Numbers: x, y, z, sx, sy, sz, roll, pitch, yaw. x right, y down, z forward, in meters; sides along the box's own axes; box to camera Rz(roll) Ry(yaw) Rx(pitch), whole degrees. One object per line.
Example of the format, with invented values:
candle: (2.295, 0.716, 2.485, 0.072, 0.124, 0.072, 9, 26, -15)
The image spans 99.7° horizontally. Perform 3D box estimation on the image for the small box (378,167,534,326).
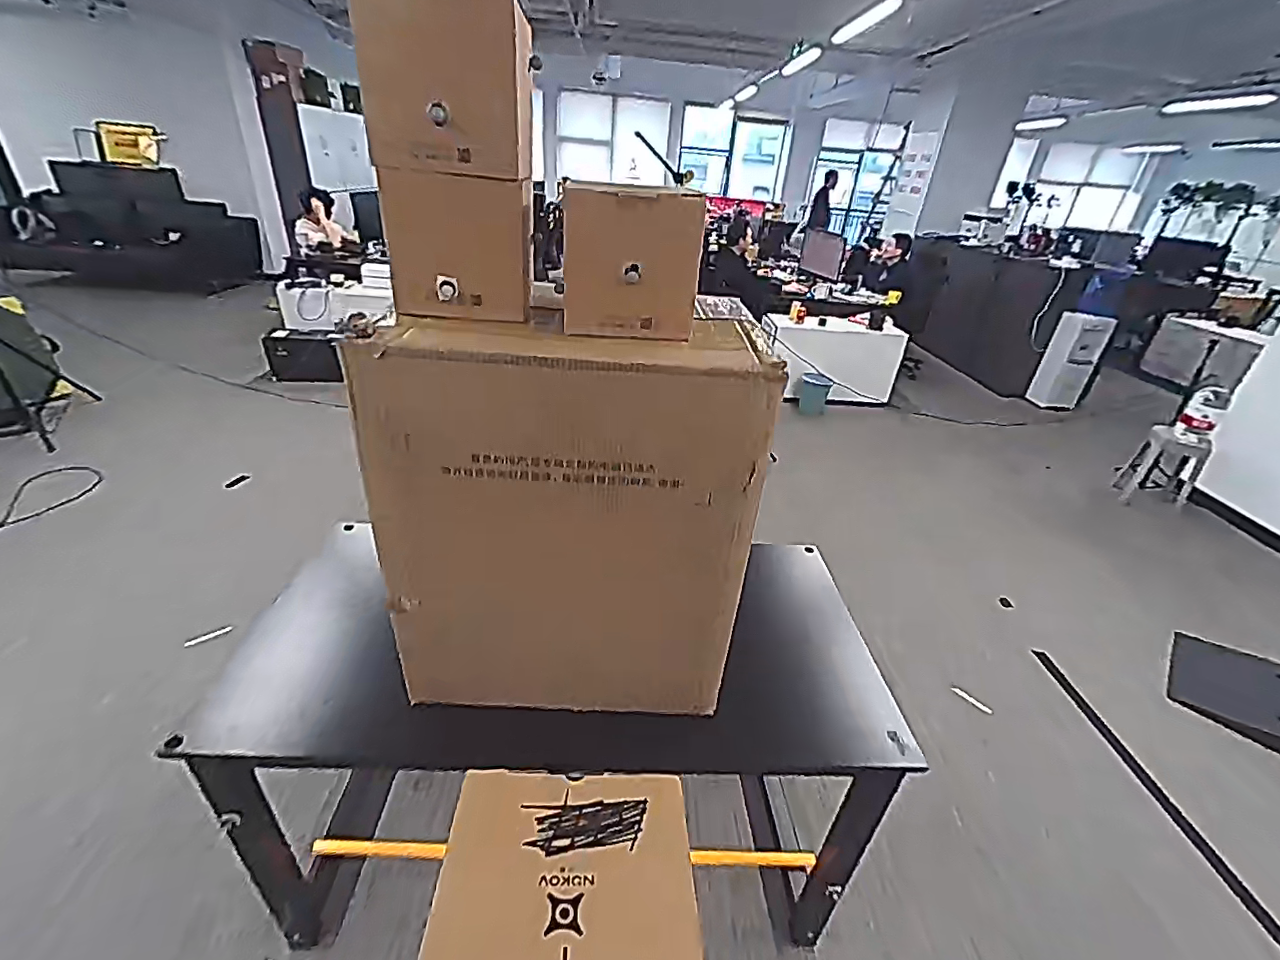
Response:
small box: (-0.231, -0.317, 0.727, 0.168, 0.176, 0.179, 0, 32, -8)

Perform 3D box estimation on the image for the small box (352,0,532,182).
small box: (-0.219, -0.458, 0.642, 0.168, 0.176, 0.179, 2, 31, -6)

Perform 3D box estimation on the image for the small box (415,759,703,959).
small box: (-0.054, 0.328, 0.371, 0.168, 0.176, 0.179, 5, 26, -4)

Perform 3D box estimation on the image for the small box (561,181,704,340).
small box: (-0.016, -0.292, 0.716, 0.168, 0.176, 0.179, 1, 32, -6)
